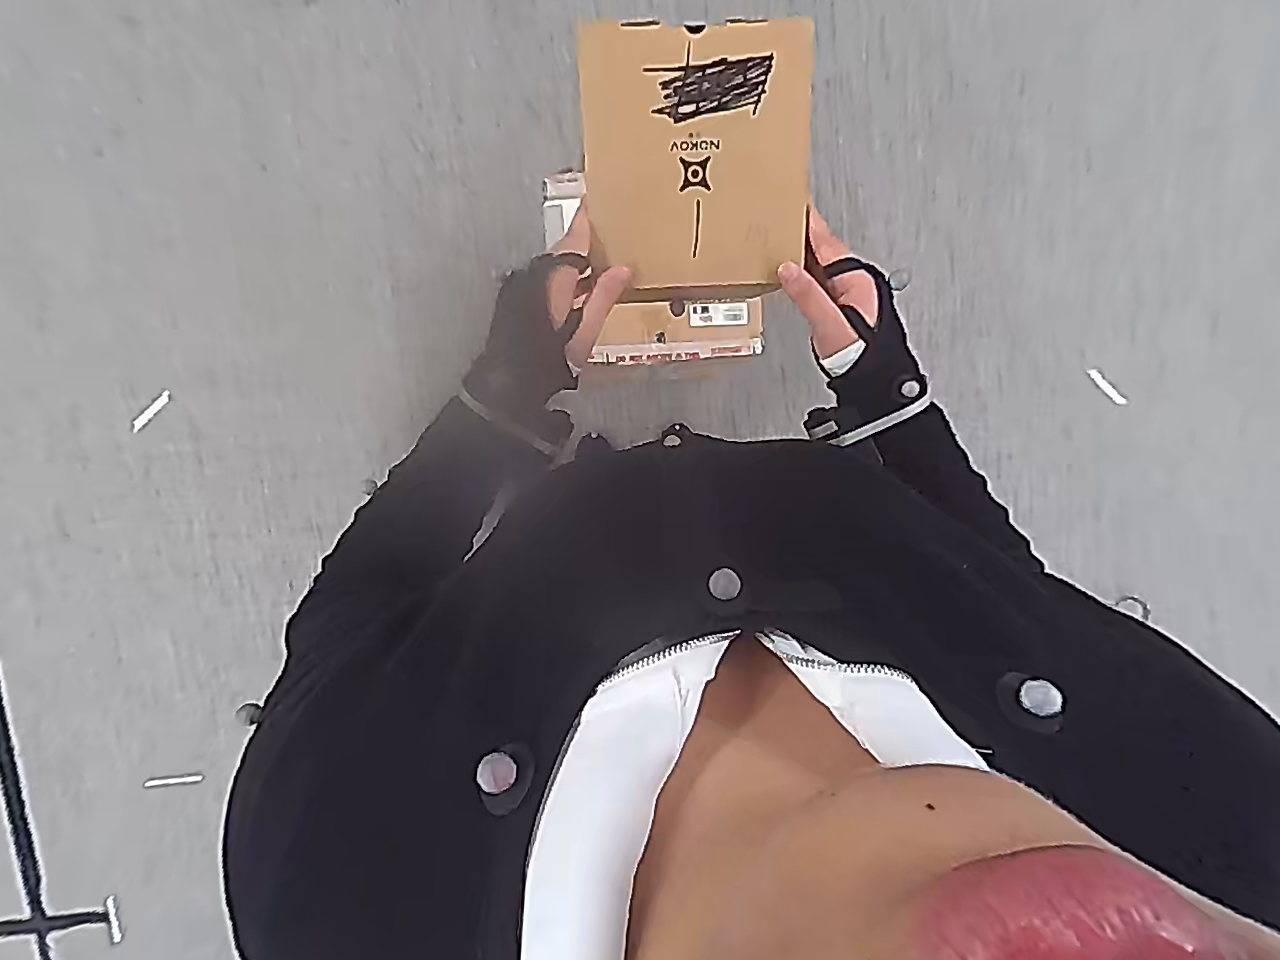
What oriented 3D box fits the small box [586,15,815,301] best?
[{"bbox_3d":[0.042,-0.257,0.474,0.168,0.176,0.179,-2,105,0],"label":"small box"}]
